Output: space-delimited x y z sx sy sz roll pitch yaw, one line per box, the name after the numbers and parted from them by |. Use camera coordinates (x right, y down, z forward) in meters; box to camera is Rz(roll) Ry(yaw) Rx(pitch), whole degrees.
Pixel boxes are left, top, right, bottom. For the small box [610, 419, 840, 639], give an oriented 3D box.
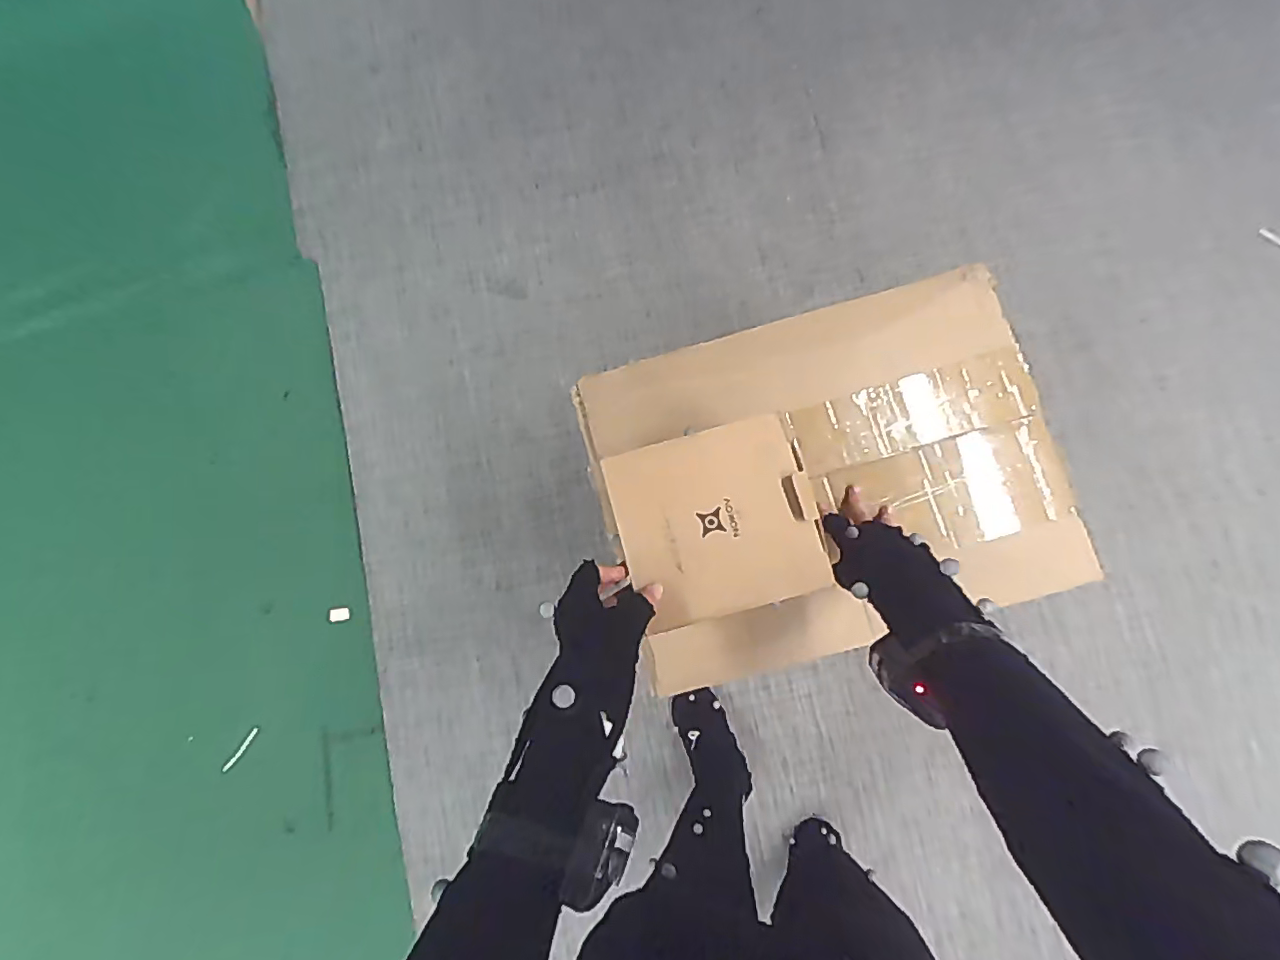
0.078 0.052 0.567 0.179 0.176 0.168 -16 81 1 | small box
